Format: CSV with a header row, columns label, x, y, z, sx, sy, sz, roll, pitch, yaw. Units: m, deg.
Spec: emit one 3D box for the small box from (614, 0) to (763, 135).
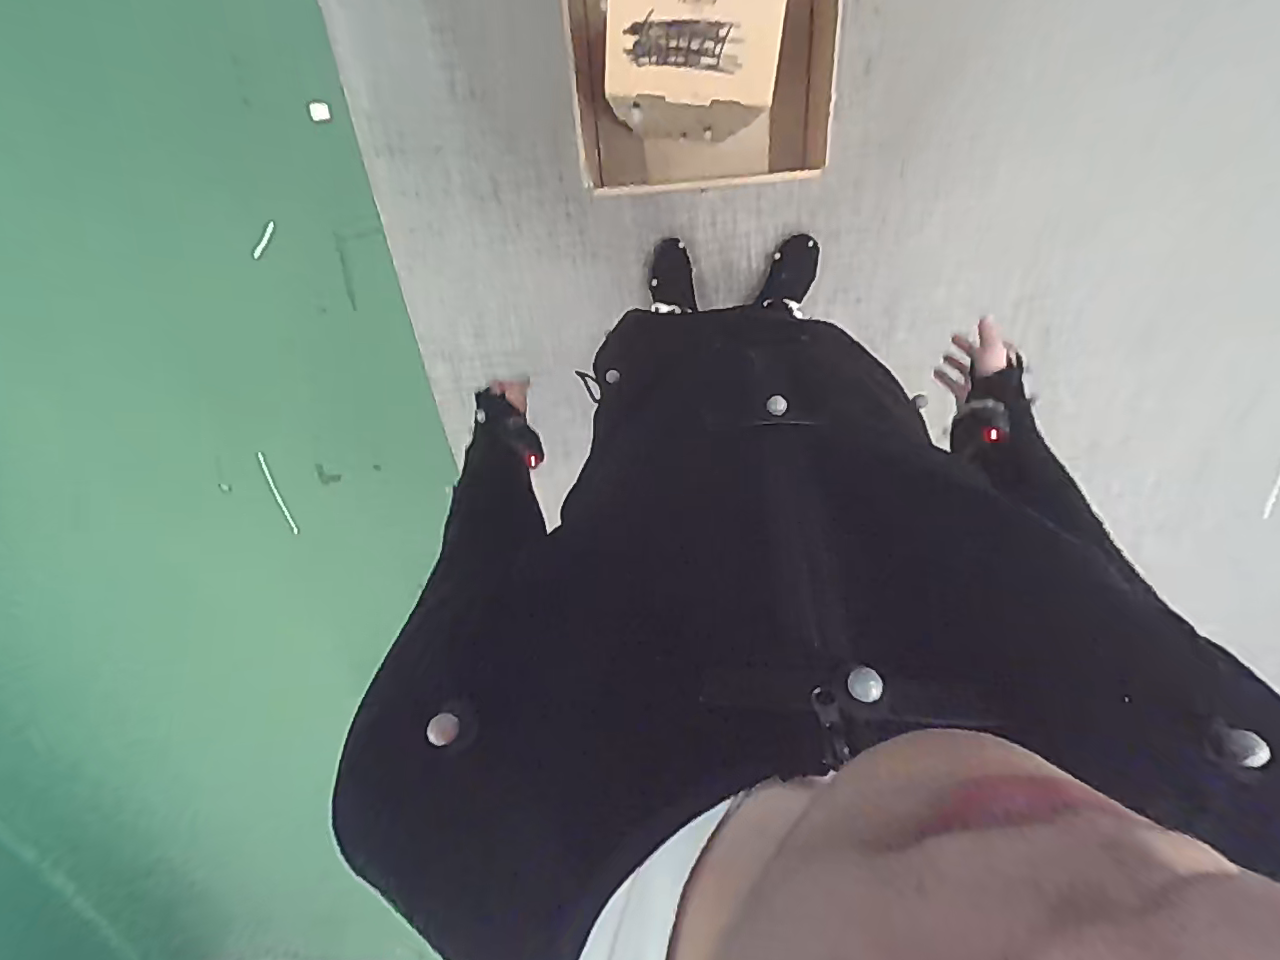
label,x,y,z,sx,sy,sz,roll,pitch,yaw
small box,0.061,-0.569,0.709,0.168,0.176,0.179,6,116,-1
